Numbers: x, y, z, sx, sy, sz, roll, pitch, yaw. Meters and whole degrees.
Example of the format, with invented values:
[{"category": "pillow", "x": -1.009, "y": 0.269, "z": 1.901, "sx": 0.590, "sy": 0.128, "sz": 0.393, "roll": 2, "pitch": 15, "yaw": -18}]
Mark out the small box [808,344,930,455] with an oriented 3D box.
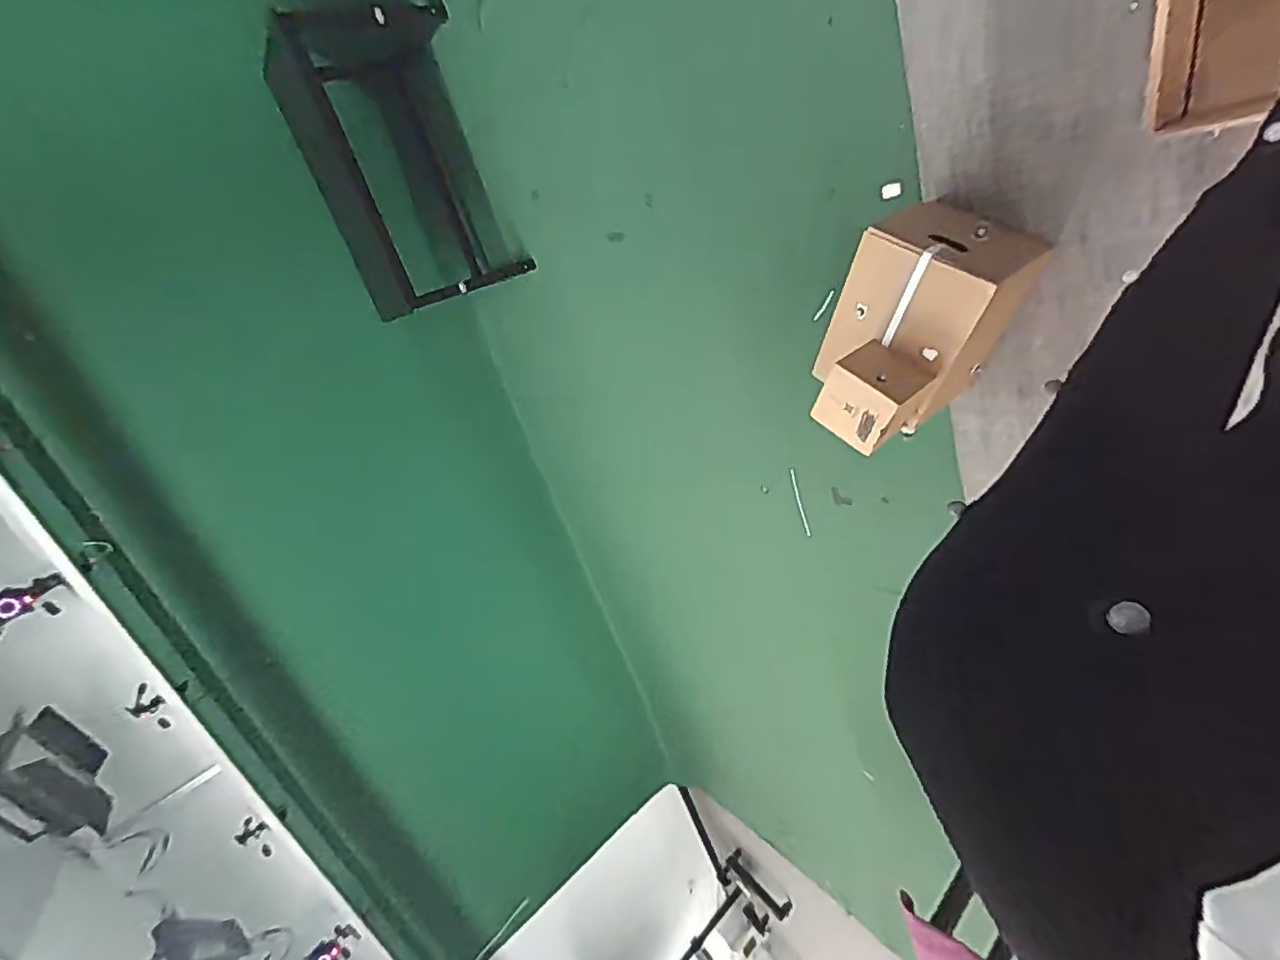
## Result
[{"category": "small box", "x": 0.543, "y": -0.197, "z": 1.282, "sx": 0.179, "sy": 0.176, "sz": 0.168, "roll": 43, "pitch": 147, "yaw": 25}]
